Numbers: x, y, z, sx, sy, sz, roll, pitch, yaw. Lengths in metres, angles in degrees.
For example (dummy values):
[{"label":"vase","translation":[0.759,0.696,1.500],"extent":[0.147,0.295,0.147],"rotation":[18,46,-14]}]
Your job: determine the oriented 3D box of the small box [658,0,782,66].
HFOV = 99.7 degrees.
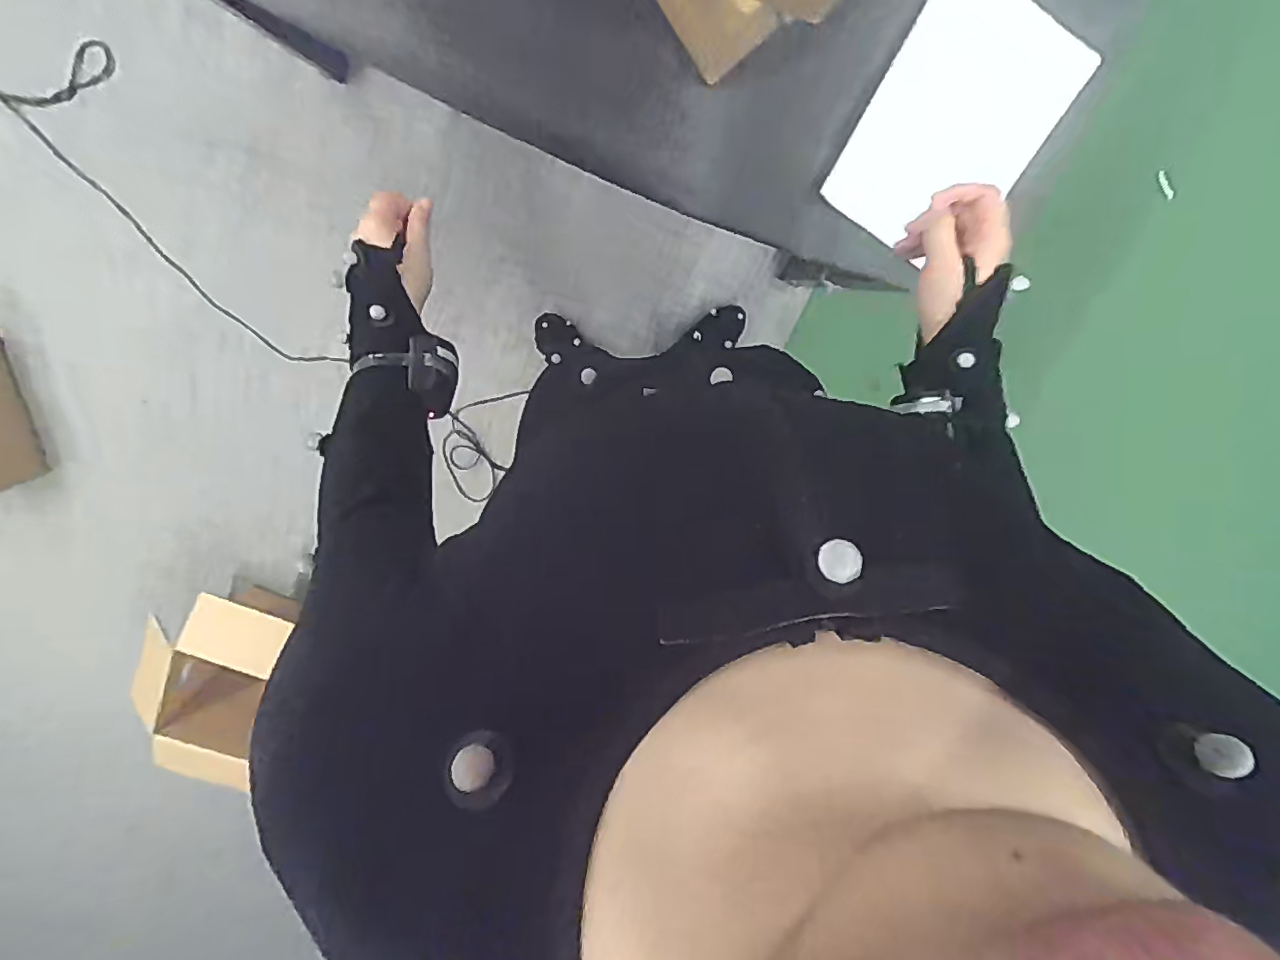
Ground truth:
[{"label":"small box","translation":[0.090,-0.514,0.476],"extent":[0.168,0.176,0.179],"rotation":[-38,106,11]}]
